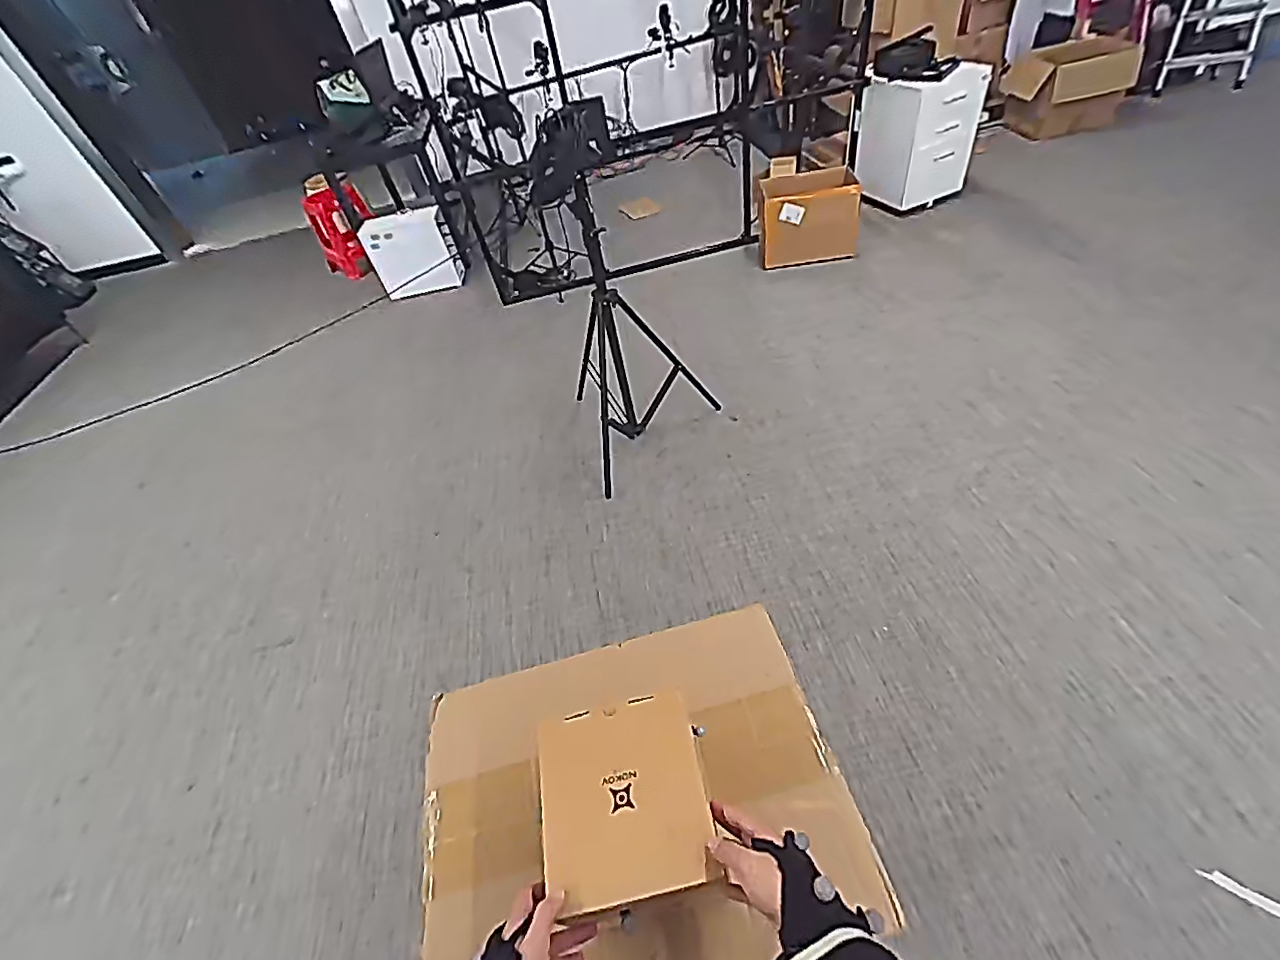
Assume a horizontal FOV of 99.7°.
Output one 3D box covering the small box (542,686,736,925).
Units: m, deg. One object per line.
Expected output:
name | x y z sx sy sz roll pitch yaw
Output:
small box | 0.001 0.357 0.588 0.168 0.176 0.179 -15 45 0
